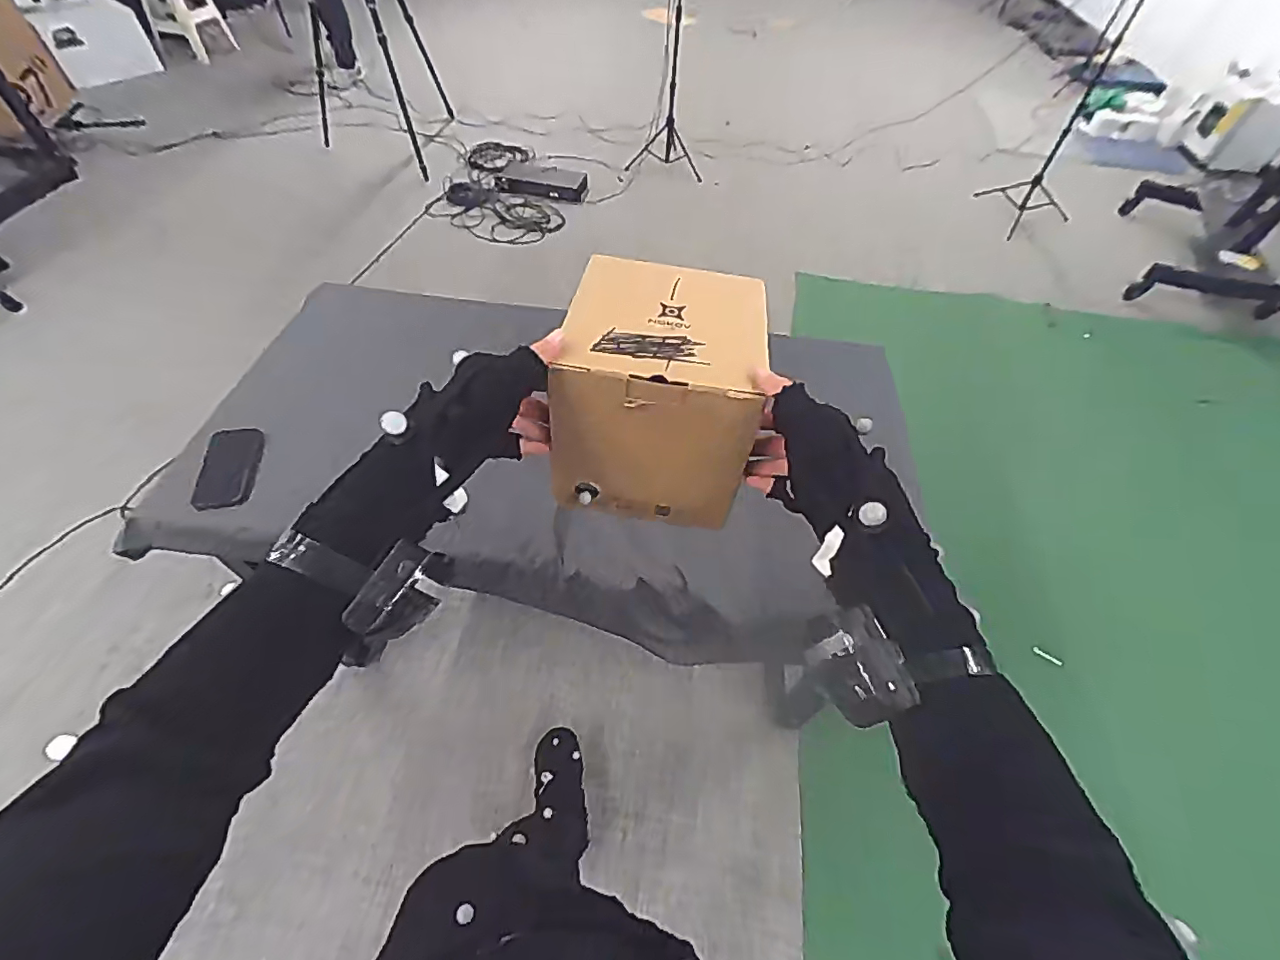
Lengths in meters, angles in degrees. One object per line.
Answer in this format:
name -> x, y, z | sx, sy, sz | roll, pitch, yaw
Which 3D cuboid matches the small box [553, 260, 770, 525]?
small box -> 0.020, -0.080, 0.511 | 0.168, 0.176, 0.179 | 9, 47, 1
